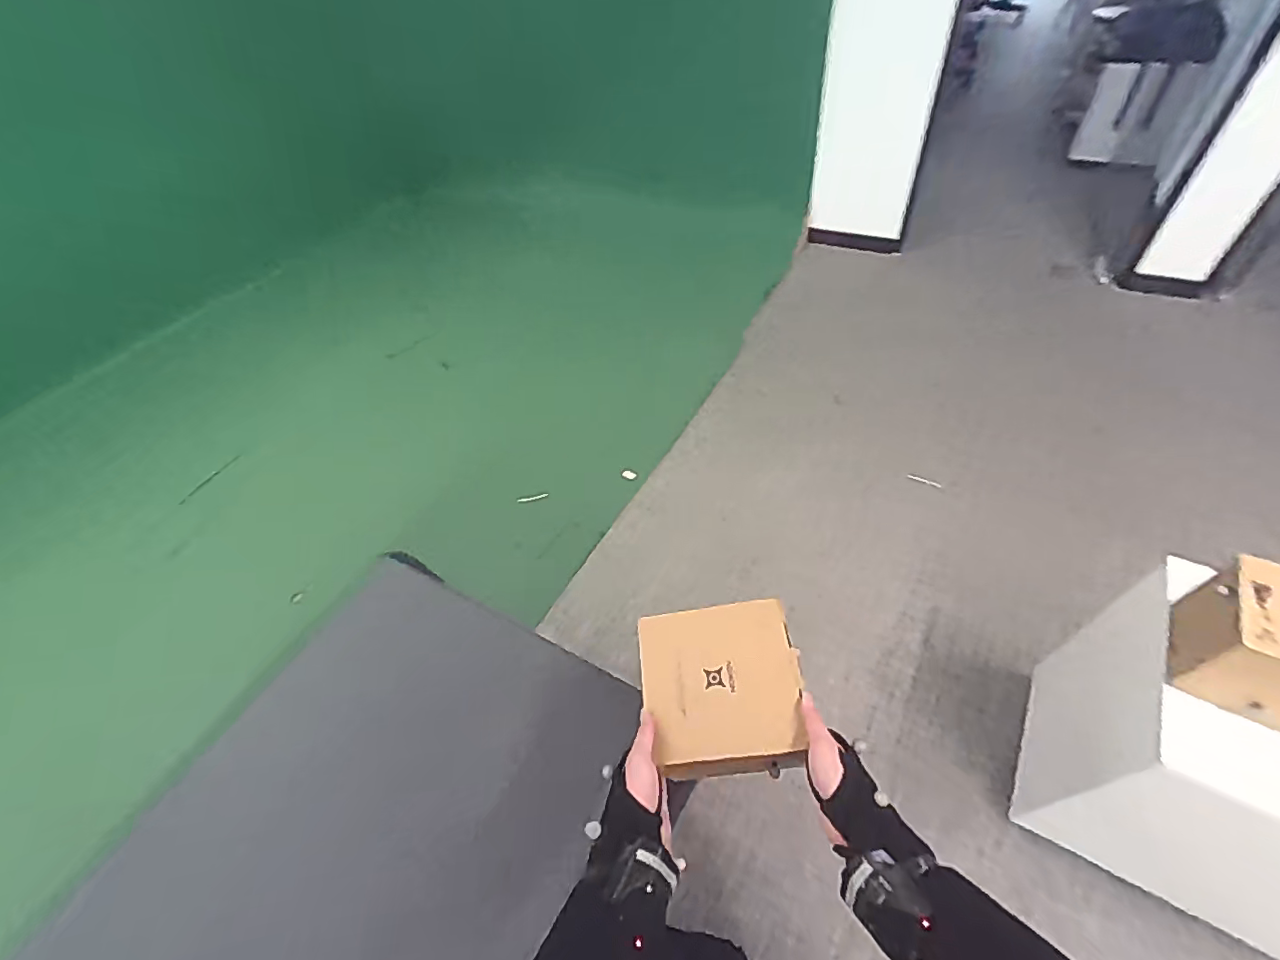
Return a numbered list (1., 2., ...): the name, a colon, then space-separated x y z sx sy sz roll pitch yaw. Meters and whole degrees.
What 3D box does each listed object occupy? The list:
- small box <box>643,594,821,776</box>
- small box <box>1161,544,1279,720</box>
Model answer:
1. small box: 0.111 0.257 0.663 0.179 0.176 0.168 -12 55 9
2. small box: 0.927 0.229 0.791 0.179 0.176 0.168 23 58 23
